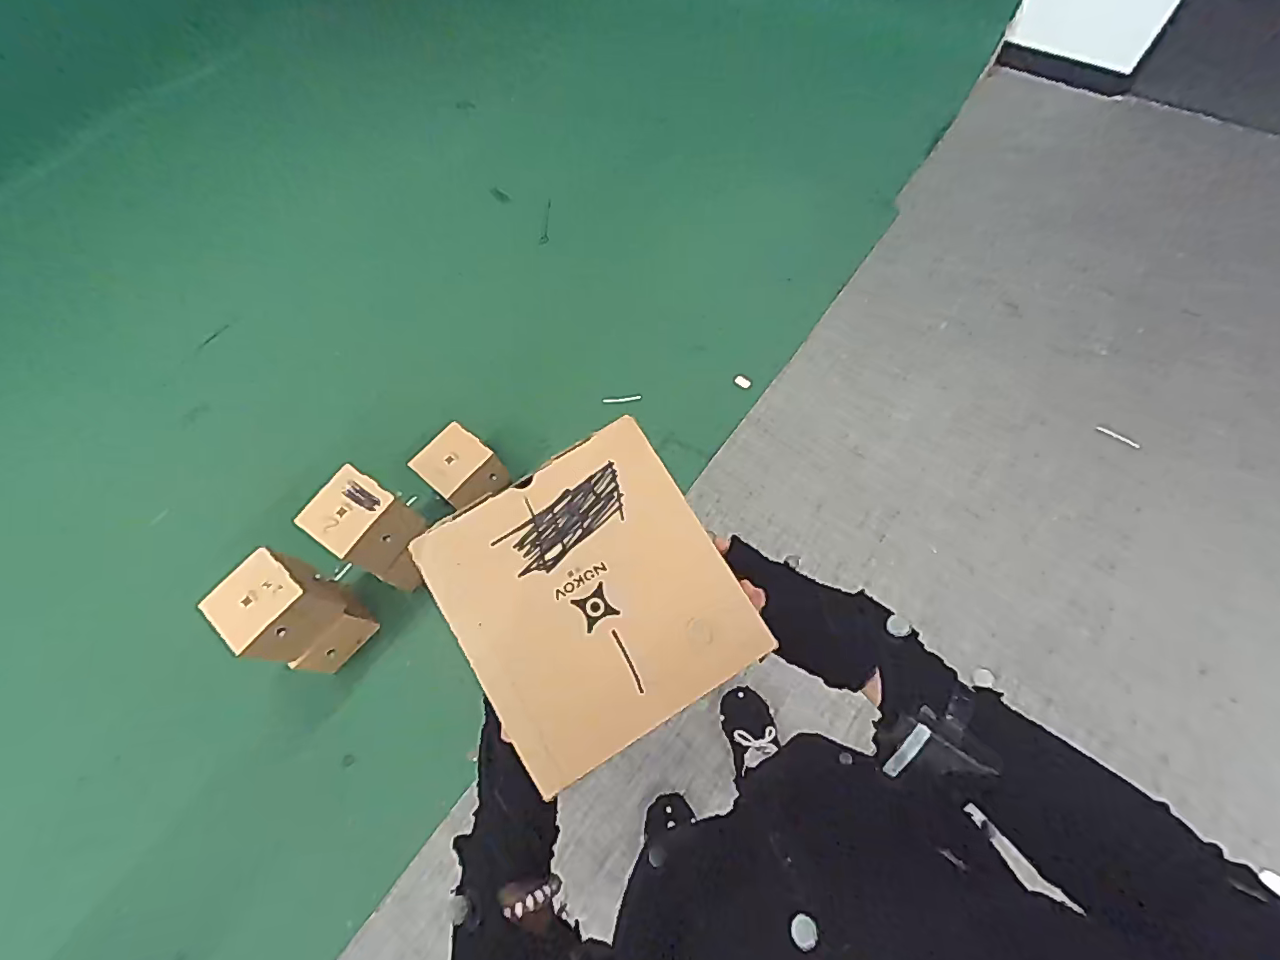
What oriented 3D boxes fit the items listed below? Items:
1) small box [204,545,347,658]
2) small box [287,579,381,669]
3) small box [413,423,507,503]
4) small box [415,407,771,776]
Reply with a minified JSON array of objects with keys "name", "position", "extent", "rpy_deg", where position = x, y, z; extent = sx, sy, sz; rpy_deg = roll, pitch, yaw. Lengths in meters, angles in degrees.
[{"name":"small box","position":[-0.822,0.285,1.237],"extent":[0.168,0.176,0.179],"rpy_deg":[37,74,19]},{"name":"small box","position":[-0.806,0.364,1.381],"extent":[0.179,0.176,0.168],"rpy_deg":[38,75,19]},{"name":"small box","position":[-0.494,-0.021,1.527],"extent":[0.168,0.176,0.179],"rpy_deg":[37,74,19]},{"name":"small box","position":[-0.032,0.078,0.414],"extent":[0.168,0.176,0.179],"rpy_deg":[-31,80,-6]}]
